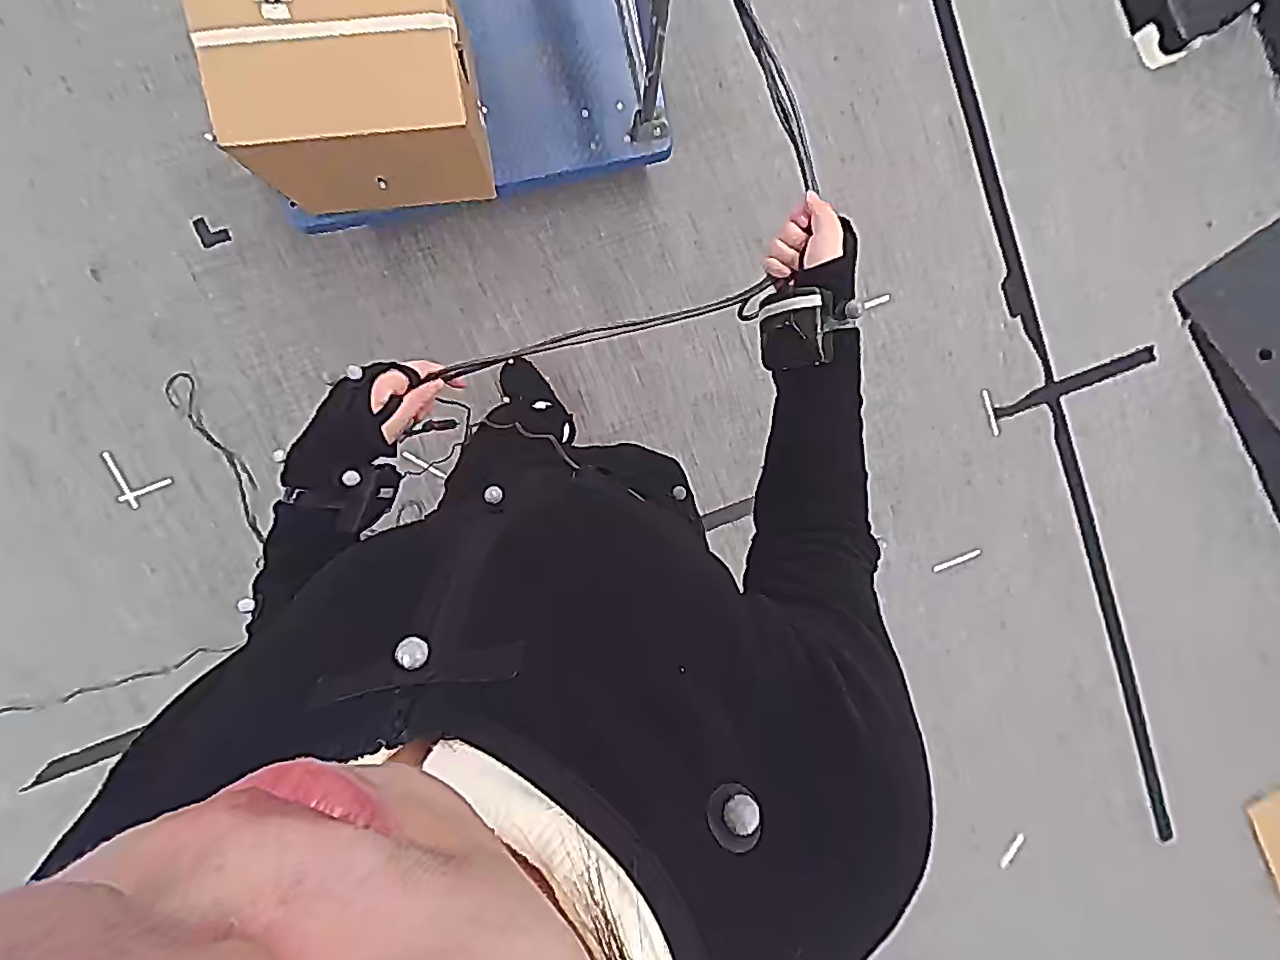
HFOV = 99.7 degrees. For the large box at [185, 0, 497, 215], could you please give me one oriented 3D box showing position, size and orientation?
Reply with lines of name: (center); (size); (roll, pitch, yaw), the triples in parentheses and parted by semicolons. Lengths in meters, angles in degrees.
large box: (-0.518, -0.728, 1.014); (0.408, 0.320, 0.320); (-8, 97, -4)
